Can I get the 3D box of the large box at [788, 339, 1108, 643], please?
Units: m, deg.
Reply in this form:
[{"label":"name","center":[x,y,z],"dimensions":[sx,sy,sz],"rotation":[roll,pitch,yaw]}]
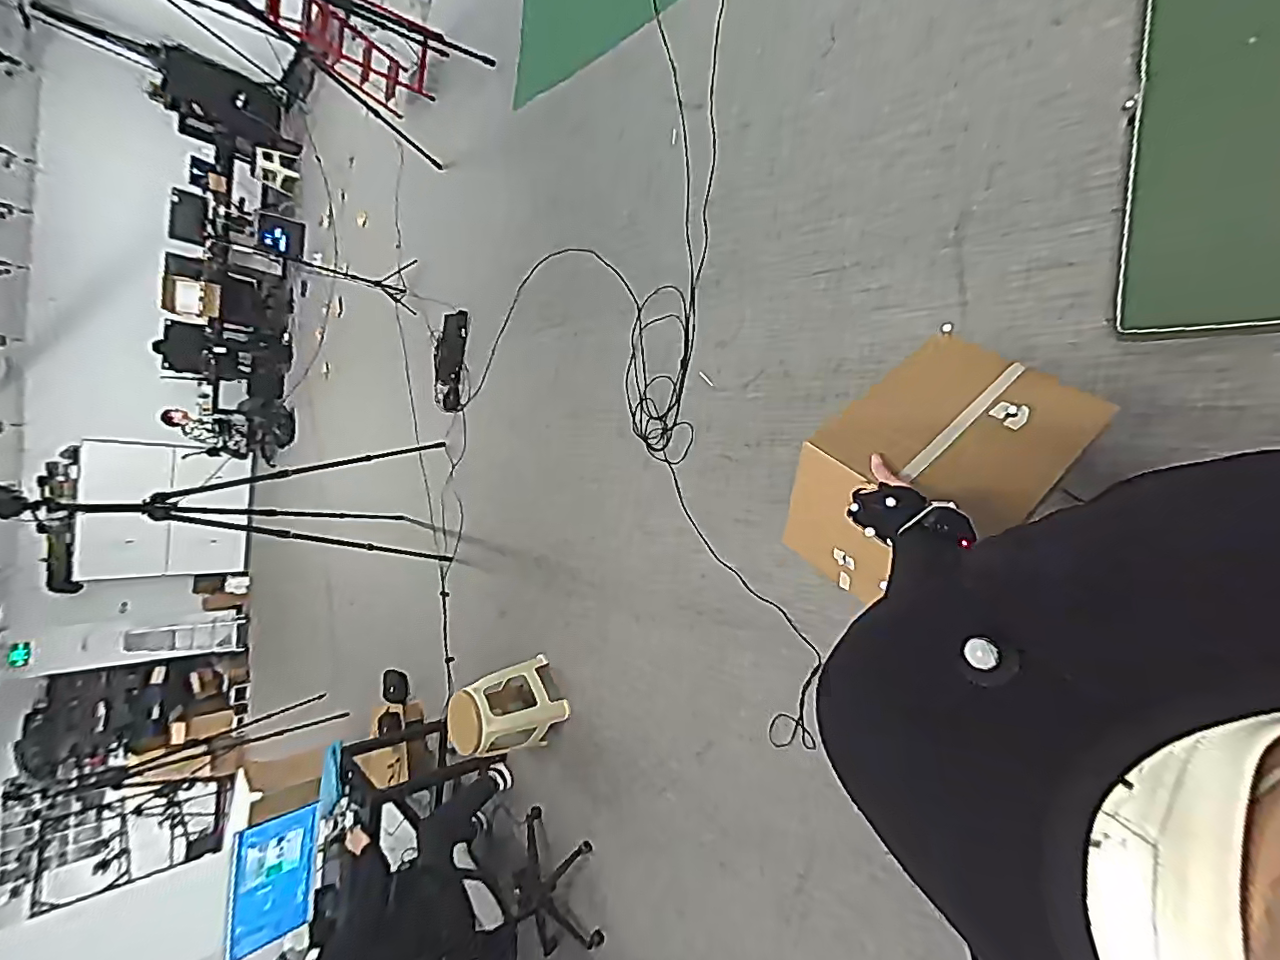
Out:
[{"label":"large box","center":[0.534,0.012,0.999],"dimensions":[0.320,0.408,0.320],"rotation":[40,154,31]}]
